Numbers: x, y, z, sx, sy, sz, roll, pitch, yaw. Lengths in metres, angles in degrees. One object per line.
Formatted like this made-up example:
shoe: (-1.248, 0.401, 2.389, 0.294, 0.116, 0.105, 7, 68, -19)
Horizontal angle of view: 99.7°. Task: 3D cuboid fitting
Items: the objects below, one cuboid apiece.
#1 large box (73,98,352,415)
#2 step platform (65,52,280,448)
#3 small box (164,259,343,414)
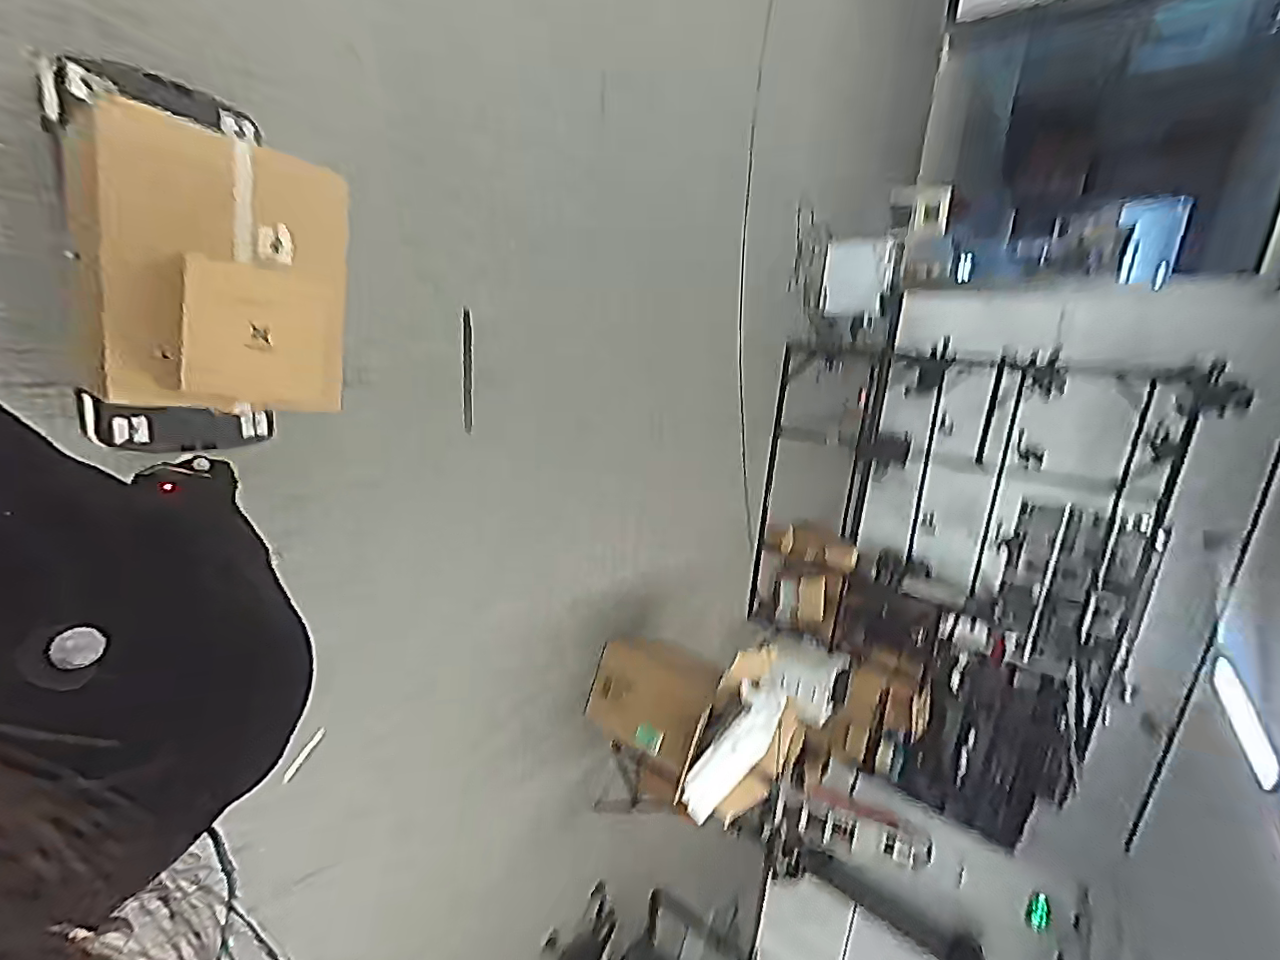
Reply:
large box: (-0.722, -0.329, 0.925, 0.320, 0.320, 0.408, -5, 105, -53)
step platform: (-0.907, -0.403, 1.059, 0.286, 0.204, 0.684, -2, 102, -52)
small box: (-0.556, -0.199, 0.775, 0.168, 0.176, 0.179, 0, 101, -52)
